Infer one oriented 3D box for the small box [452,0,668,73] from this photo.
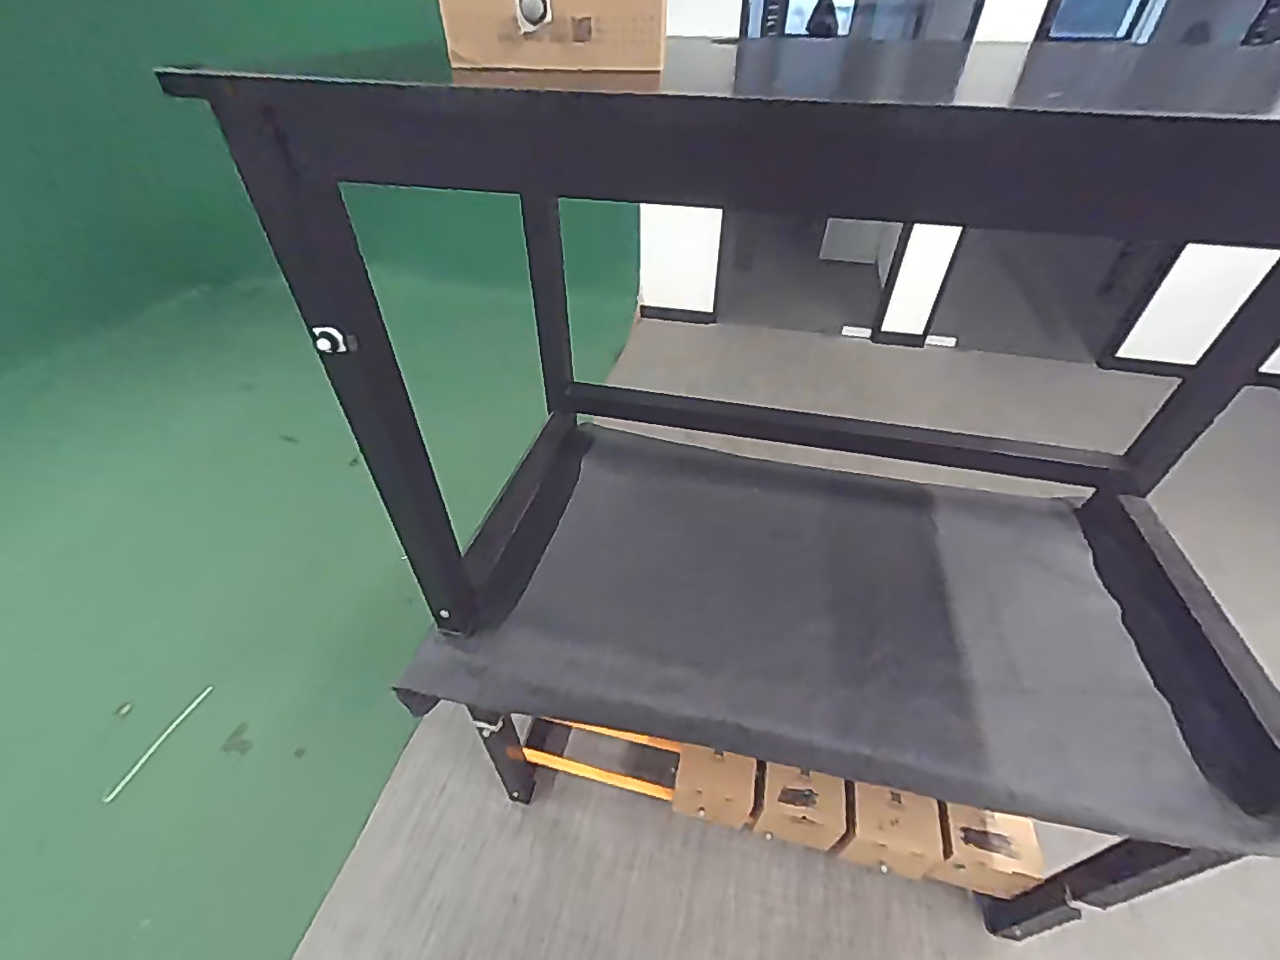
[{"bbox_3d":[-0.060,-0.439,0.428,0.168,0.176,0.179,1,43,2],"label":"small box"}]
